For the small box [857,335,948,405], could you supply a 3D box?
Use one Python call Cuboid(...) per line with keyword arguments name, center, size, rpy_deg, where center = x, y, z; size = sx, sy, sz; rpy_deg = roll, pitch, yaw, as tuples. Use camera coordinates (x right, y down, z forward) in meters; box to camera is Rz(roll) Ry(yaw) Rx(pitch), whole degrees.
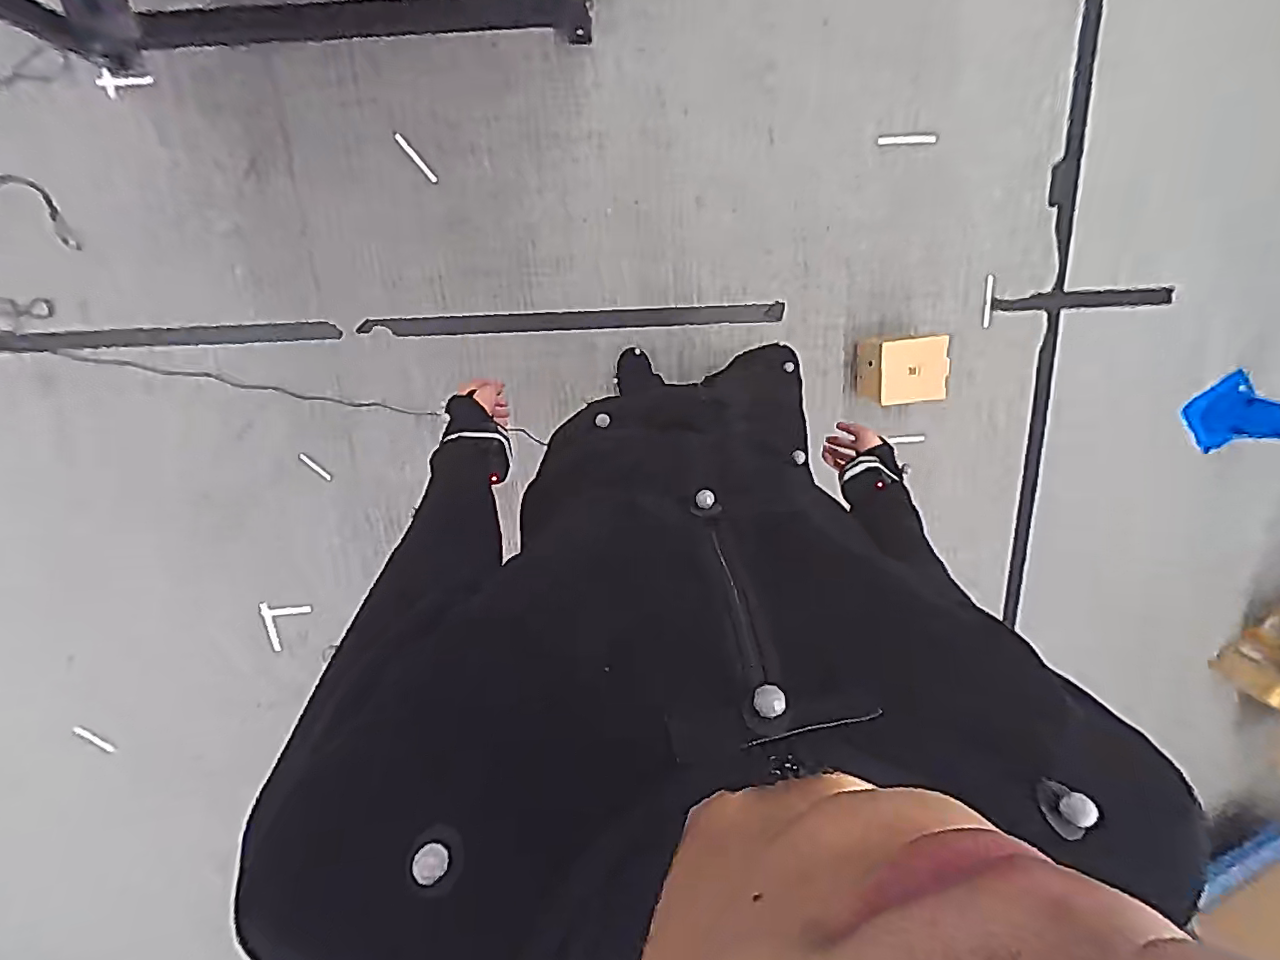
Cuboid(name="small box", center=(0.712, -0.305, 1.486), size=(0.179, 0.176, 0.168), rpy_deg=(-7, 107, 0))
